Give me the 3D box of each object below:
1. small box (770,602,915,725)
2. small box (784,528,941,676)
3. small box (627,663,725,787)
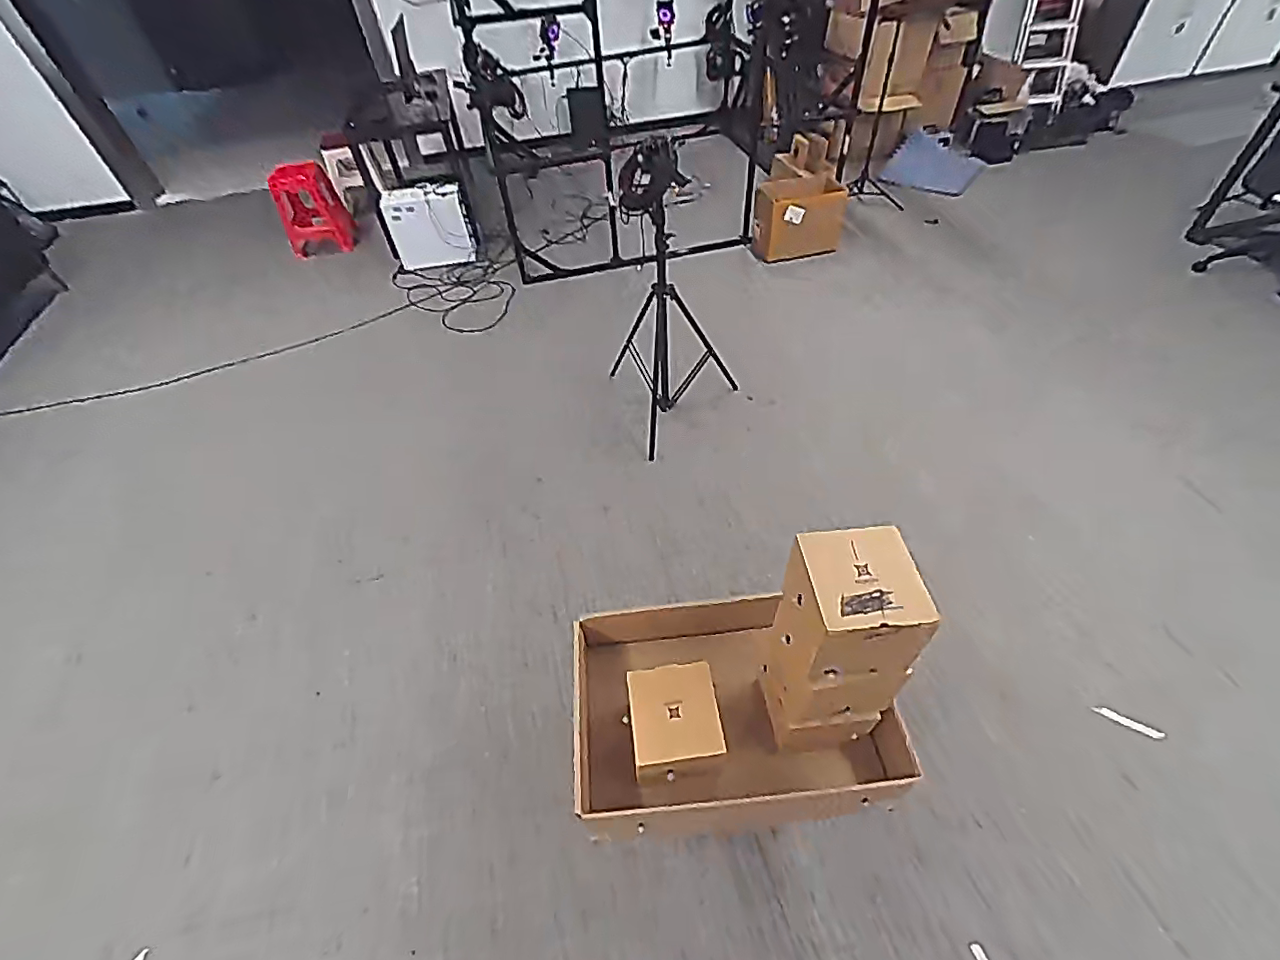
[{"bbox_3d":[0.349,0.322,0.973,0.179,0.176,0.168,-7,47,-3],"label":"small box"},{"bbox_3d":[0.338,0.200,0.861,0.168,0.176,0.179,-5,47,0],"label":"small box"},{"bbox_3d":[0.068,0.489,1.068,0.168,0.176,0.179,-7,47,-2],"label":"small box"}]
